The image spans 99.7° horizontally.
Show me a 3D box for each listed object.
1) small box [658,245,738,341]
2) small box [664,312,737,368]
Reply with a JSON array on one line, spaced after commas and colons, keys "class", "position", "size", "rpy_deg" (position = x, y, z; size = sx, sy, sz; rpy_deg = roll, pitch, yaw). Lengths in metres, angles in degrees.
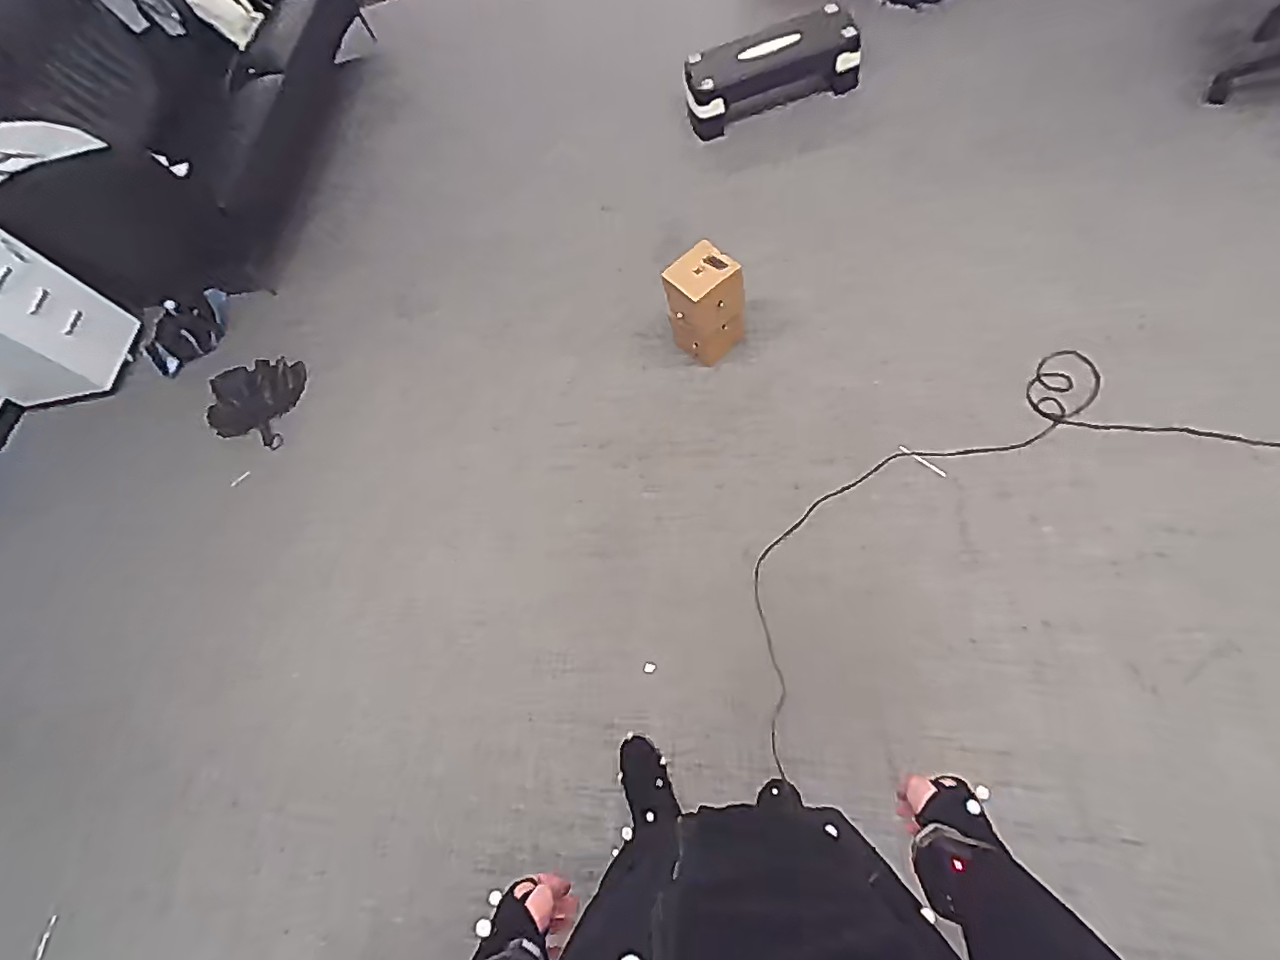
[{"class": "small box", "position": [0.182, -0.562, 1.638], "size": [0.179, 0.176, 0.168], "rpy_deg": [-40, 62, -5]}, {"class": "small box", "position": [0.209, -0.506, 1.792], "size": [0.168, 0.176, 0.179], "rpy_deg": [39, 79, 26]}]
